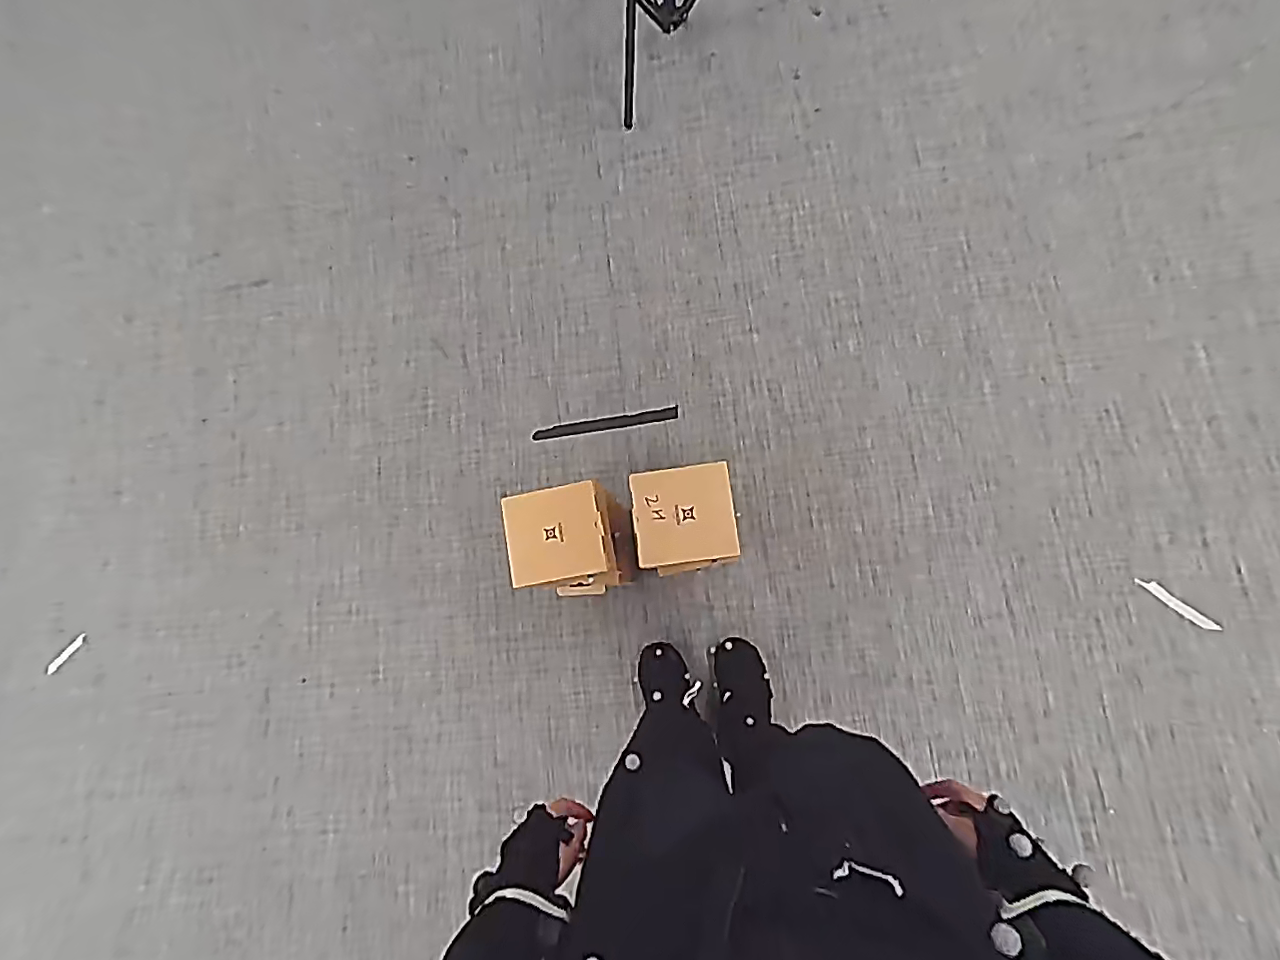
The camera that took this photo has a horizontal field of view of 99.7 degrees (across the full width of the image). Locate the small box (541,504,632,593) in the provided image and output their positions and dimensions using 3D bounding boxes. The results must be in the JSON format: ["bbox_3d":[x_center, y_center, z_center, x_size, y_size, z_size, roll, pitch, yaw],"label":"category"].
[{"bbox_3d":[-0.112,0.153,1.189,0.168,0.176,0.179,-5,78,7],"label":"small box"}]
